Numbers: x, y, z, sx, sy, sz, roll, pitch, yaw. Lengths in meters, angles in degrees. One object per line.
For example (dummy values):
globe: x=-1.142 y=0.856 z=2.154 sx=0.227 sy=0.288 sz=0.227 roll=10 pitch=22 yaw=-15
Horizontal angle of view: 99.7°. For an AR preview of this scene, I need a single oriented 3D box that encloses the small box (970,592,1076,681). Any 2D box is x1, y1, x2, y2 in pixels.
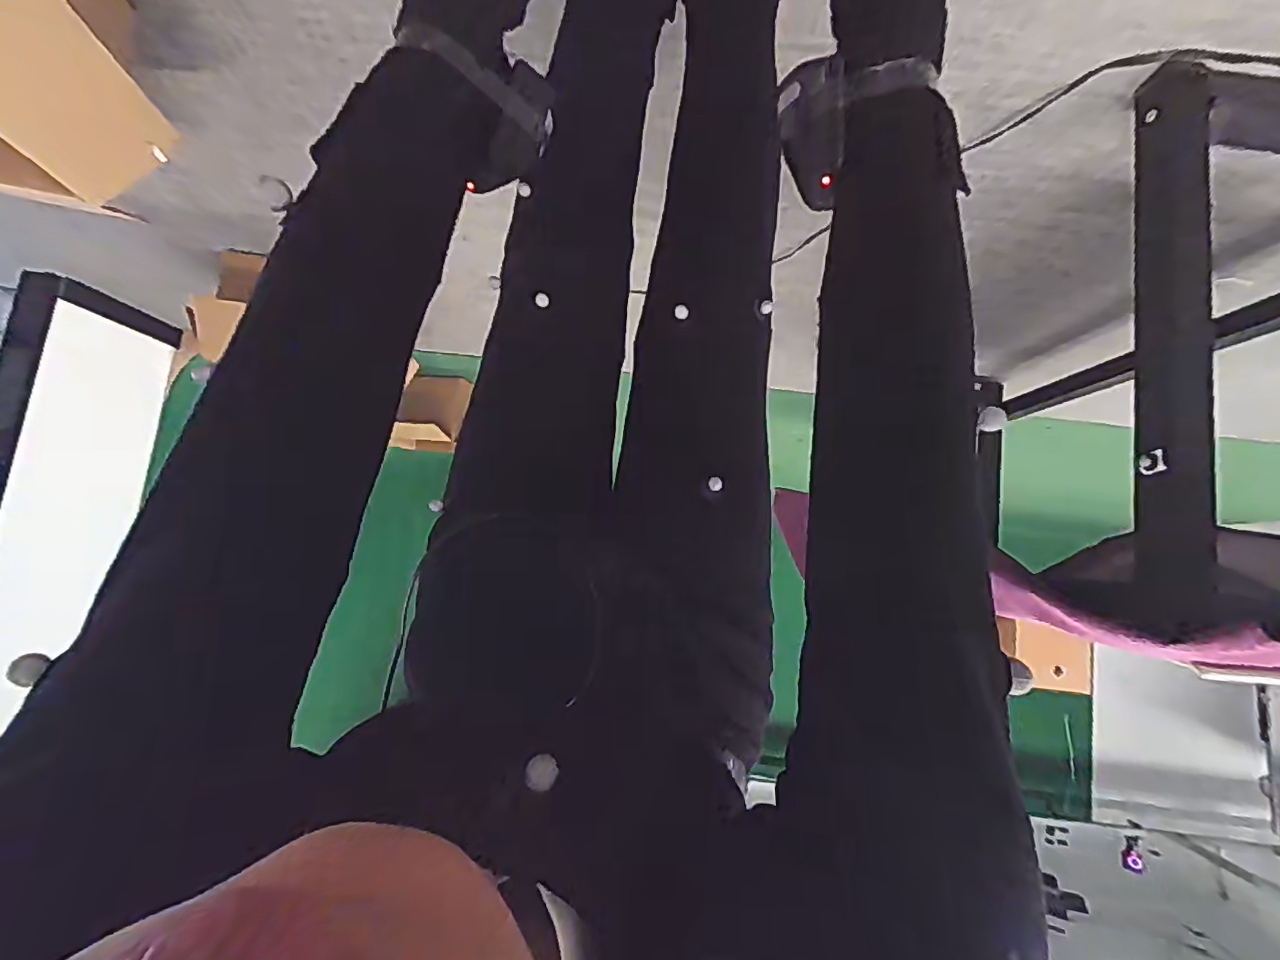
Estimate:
small box: x=0.909 y=0.372 z=1.308 sx=0.179 sy=0.176 sz=0.168 roll=7 pitch=173 yaw=-2
